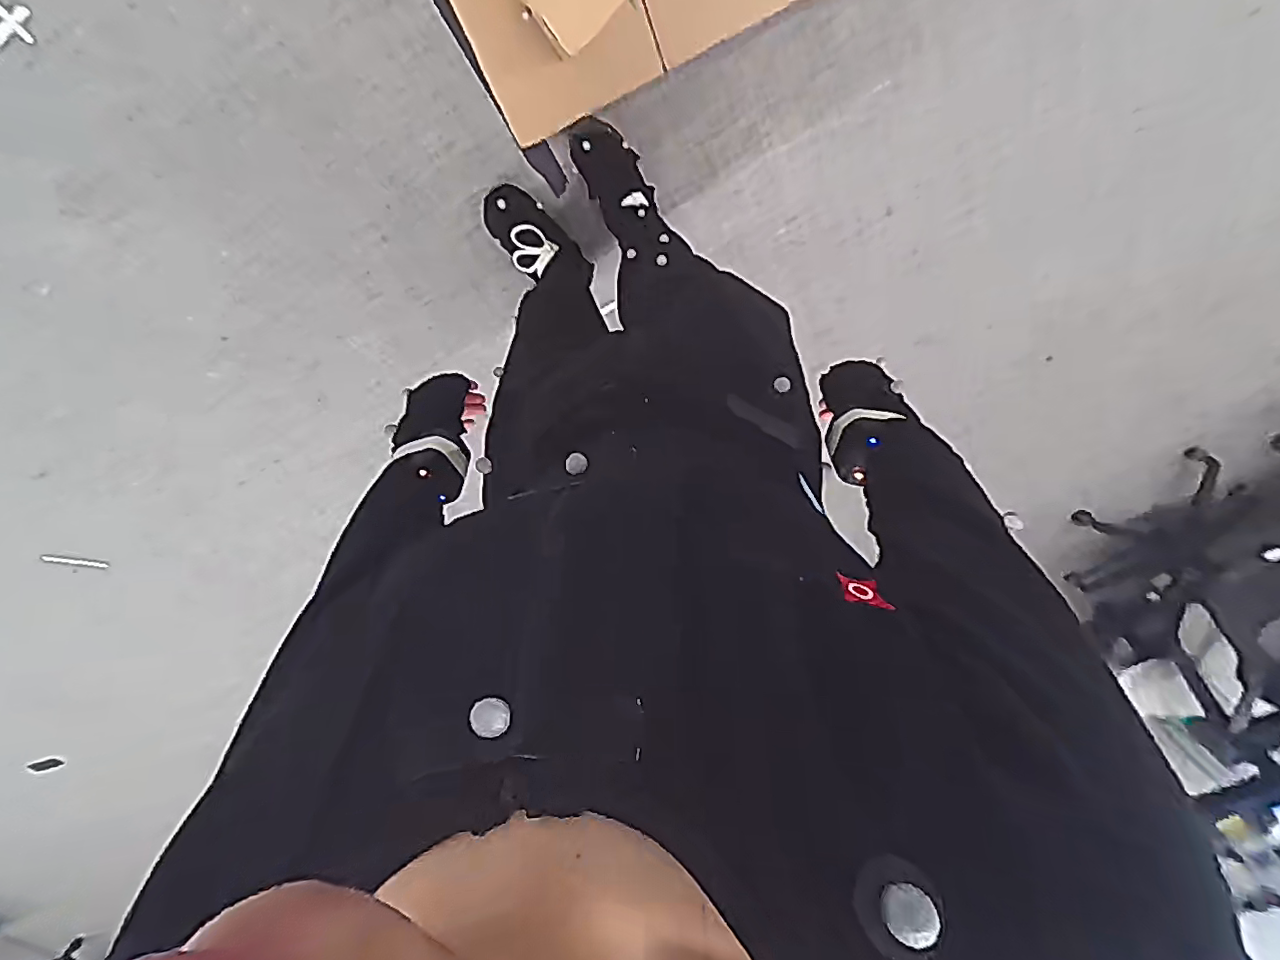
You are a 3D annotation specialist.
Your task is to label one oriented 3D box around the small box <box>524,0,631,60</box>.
[{"bbox_3d":[-0.097,-0.776,0.810,0.179,0.176,0.168,-36,124,16],"label":"small box"}]
